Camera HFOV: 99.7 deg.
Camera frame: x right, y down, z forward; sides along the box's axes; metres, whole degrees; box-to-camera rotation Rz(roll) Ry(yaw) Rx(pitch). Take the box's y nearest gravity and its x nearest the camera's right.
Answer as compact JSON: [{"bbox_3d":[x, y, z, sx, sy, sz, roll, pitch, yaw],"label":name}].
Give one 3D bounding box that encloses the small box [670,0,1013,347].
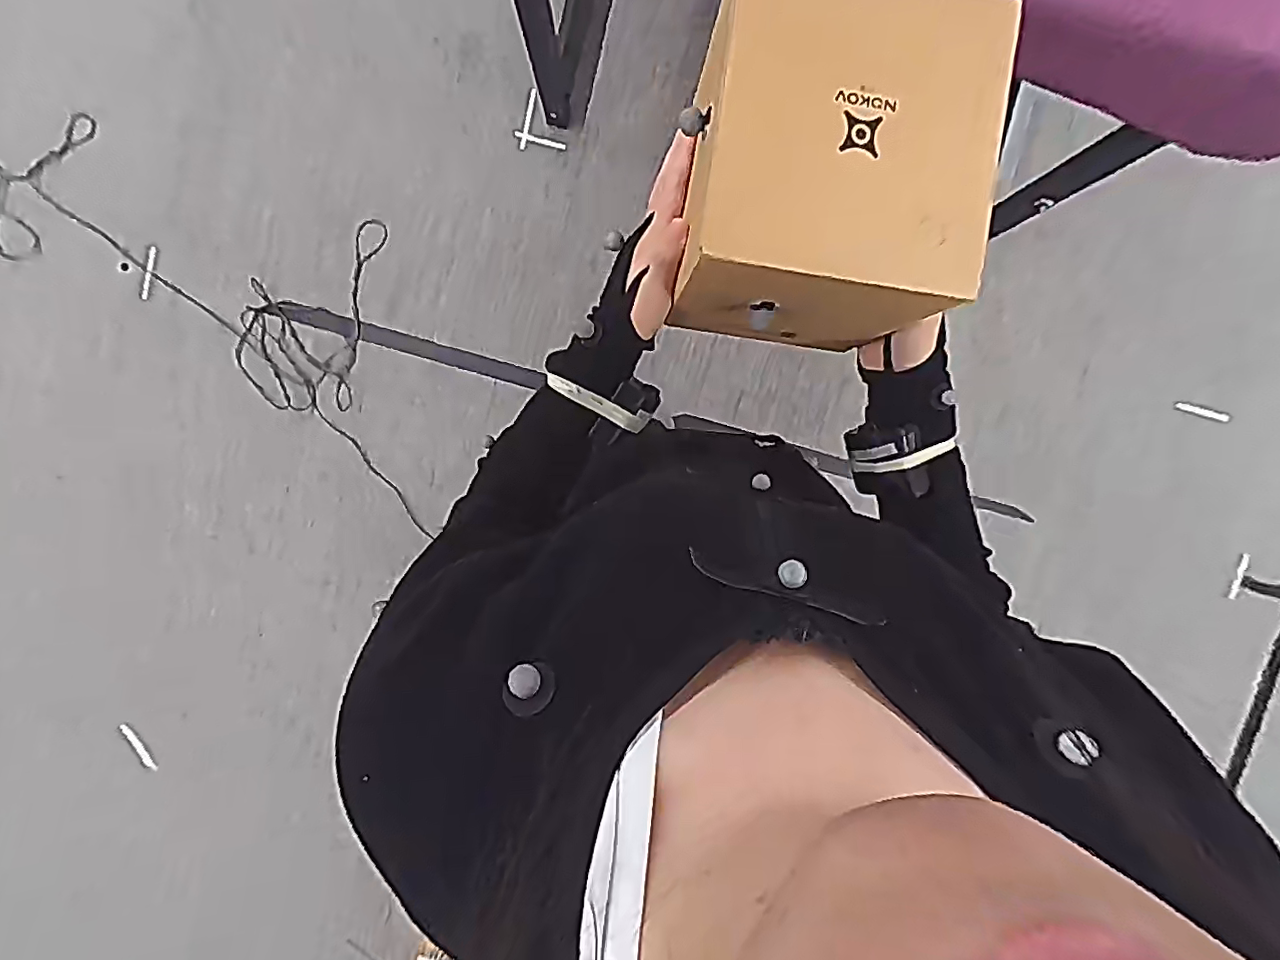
[{"bbox_3d":[0.119,-0.204,0.390,0.168,0.176,0.179,7,91,-5],"label":"small box"}]
